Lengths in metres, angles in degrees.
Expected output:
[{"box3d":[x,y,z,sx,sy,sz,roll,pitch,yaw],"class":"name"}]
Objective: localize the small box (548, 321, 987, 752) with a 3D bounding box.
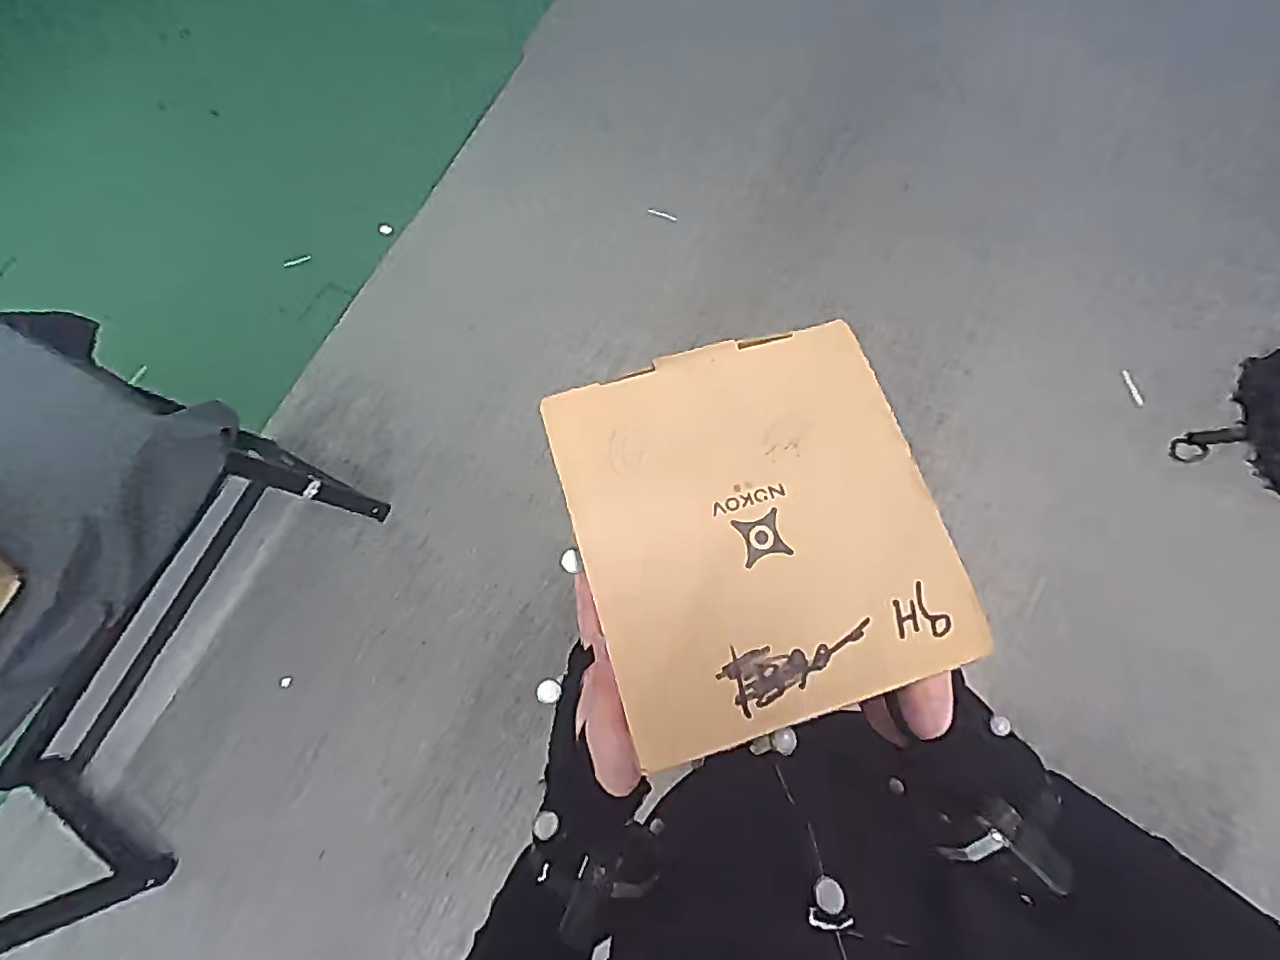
[{"box3d":[0.052,0.038,0.332,0.168,0.176,0.179,-17,74,-5],"class":"small box"}]
